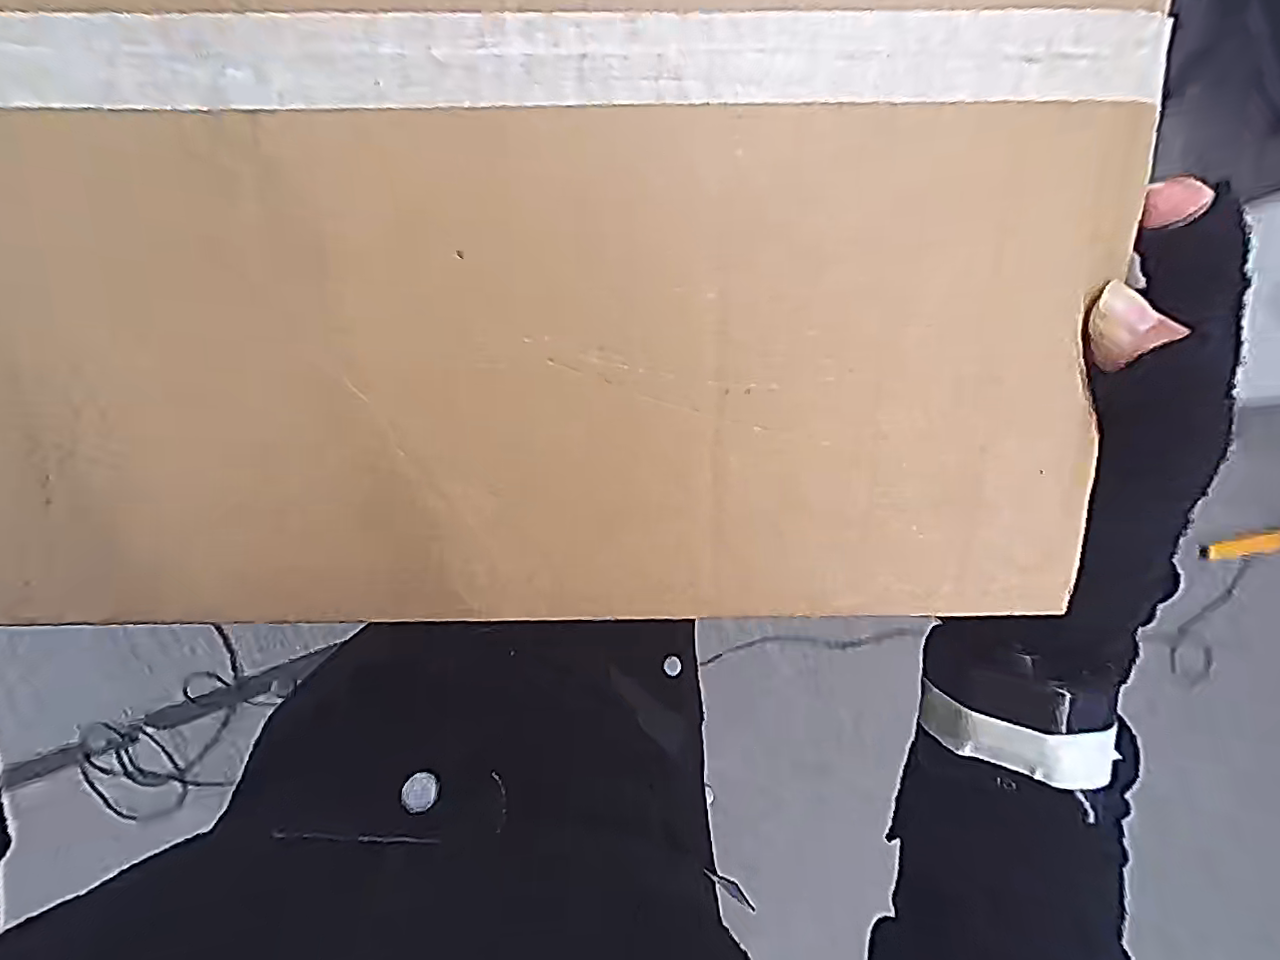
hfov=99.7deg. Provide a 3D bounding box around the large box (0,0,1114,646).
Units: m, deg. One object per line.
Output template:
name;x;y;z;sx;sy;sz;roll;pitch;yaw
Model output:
large box;-0.072;-0.131;0.296;0.408;0.320;0.320;-1;102;-1
